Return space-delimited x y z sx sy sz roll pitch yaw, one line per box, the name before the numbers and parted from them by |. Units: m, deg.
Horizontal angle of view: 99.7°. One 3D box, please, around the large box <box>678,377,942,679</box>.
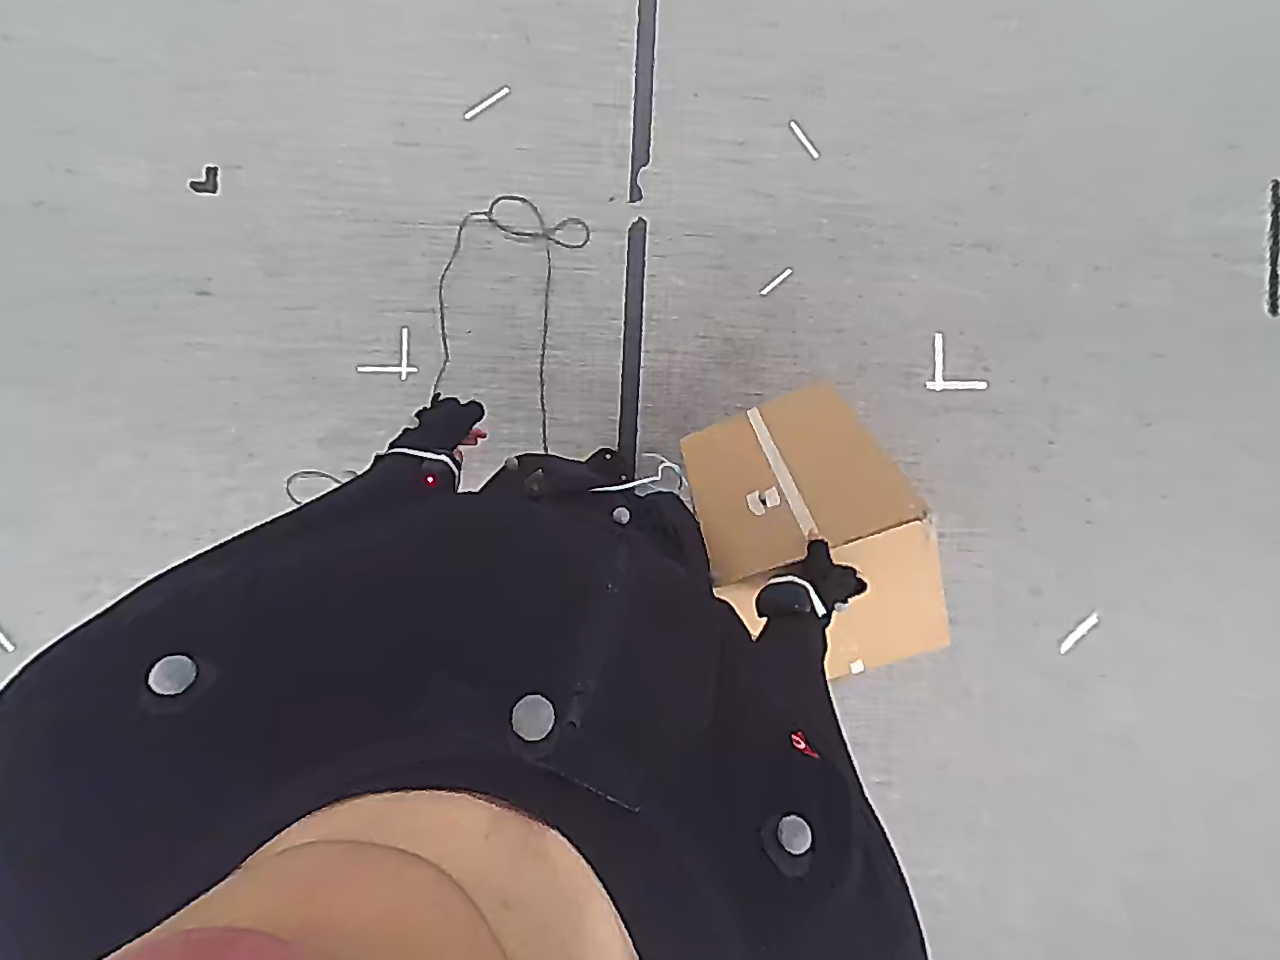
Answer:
large box | 0.293 0.078 0.997 0.320 0.408 0.320 -23 127 11
